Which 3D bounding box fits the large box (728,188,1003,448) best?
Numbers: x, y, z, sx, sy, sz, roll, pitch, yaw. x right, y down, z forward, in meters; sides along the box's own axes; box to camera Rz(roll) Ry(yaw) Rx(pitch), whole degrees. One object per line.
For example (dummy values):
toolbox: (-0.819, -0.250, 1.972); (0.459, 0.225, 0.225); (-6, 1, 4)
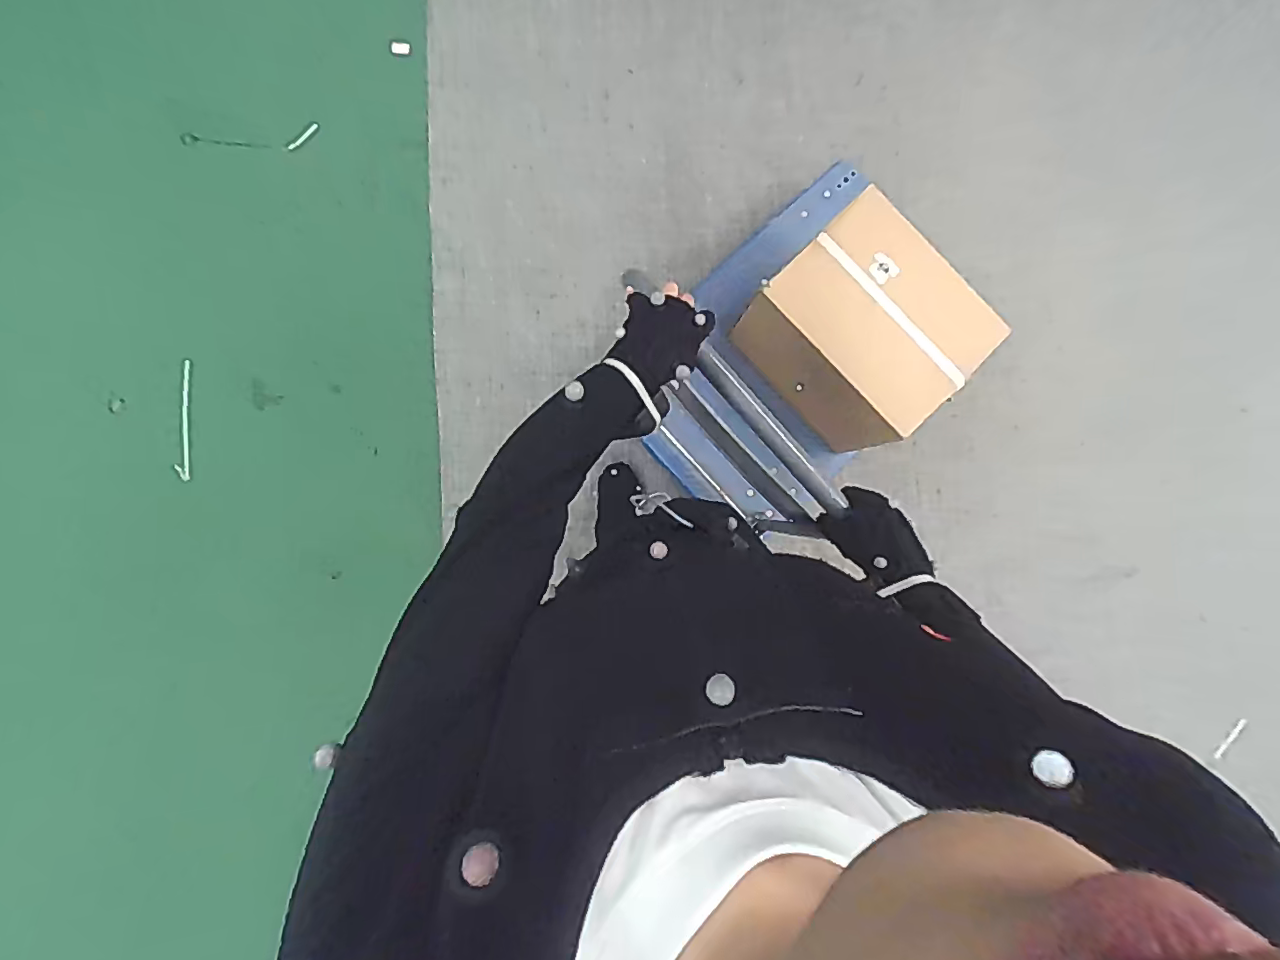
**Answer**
large box: (0.463, -0.325, 1.199); (0.320, 0.320, 0.408); (-44, 89, -4)
